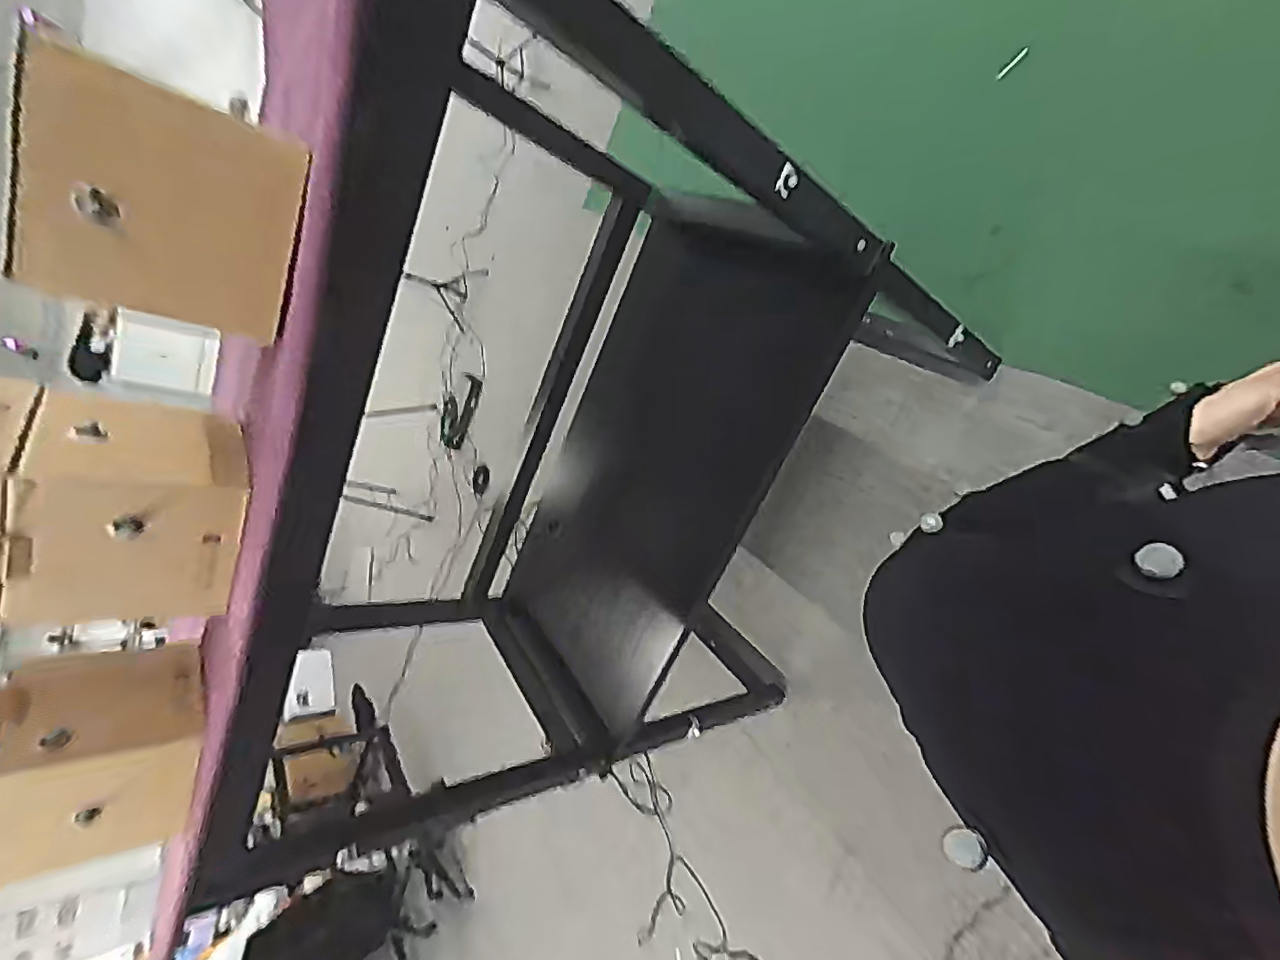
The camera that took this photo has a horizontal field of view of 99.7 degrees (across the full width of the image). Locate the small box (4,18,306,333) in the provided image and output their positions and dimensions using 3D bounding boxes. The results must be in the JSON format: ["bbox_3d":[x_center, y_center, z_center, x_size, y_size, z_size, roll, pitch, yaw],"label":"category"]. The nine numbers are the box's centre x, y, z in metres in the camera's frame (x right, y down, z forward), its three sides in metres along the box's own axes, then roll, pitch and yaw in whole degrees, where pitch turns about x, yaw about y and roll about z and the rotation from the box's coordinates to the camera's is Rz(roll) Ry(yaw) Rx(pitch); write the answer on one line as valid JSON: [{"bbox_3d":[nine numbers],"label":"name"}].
[{"bbox_3d":[-0.409,-0.249,0.477,0.168,0.176,0.179,42,115,44],"label":"small box"}]

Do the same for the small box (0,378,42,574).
[{"bbox_3d":[-0.645,0.009,0.456,0.168,0.176,0.179,44,115,40],"label":"small box"}]

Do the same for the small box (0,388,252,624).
[{"bbox_3d":[-0.525,0.026,0.568,0.179,0.176,0.168,44,115,42],"label":"small box"}]
